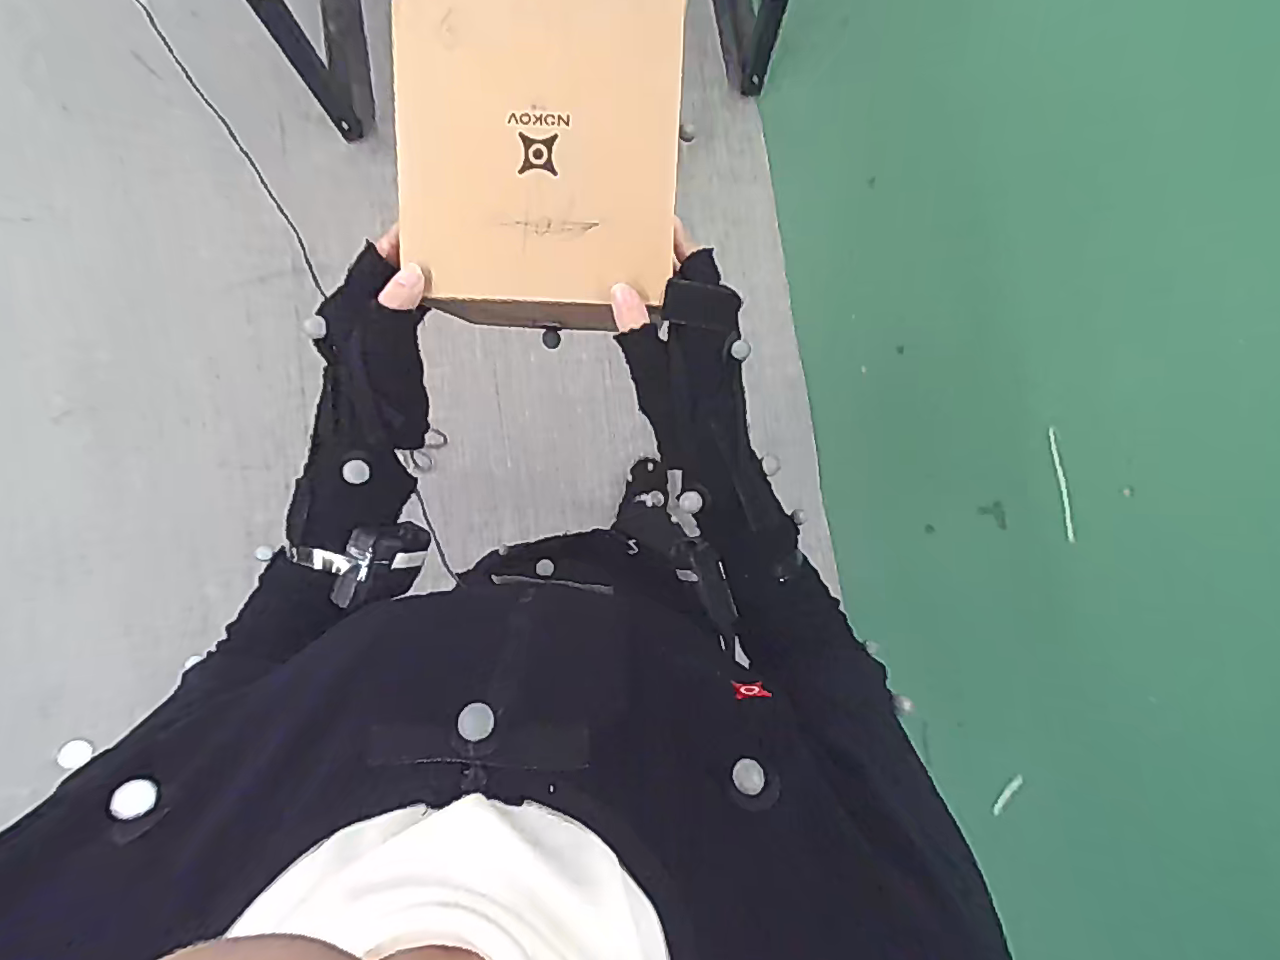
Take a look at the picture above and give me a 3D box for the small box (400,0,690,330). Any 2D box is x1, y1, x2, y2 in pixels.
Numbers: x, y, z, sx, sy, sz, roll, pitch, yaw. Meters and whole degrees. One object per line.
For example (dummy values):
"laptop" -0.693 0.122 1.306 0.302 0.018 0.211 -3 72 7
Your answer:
"small box" -0.057 -0.211 0.394 0.168 0.176 0.179 2 100 1
